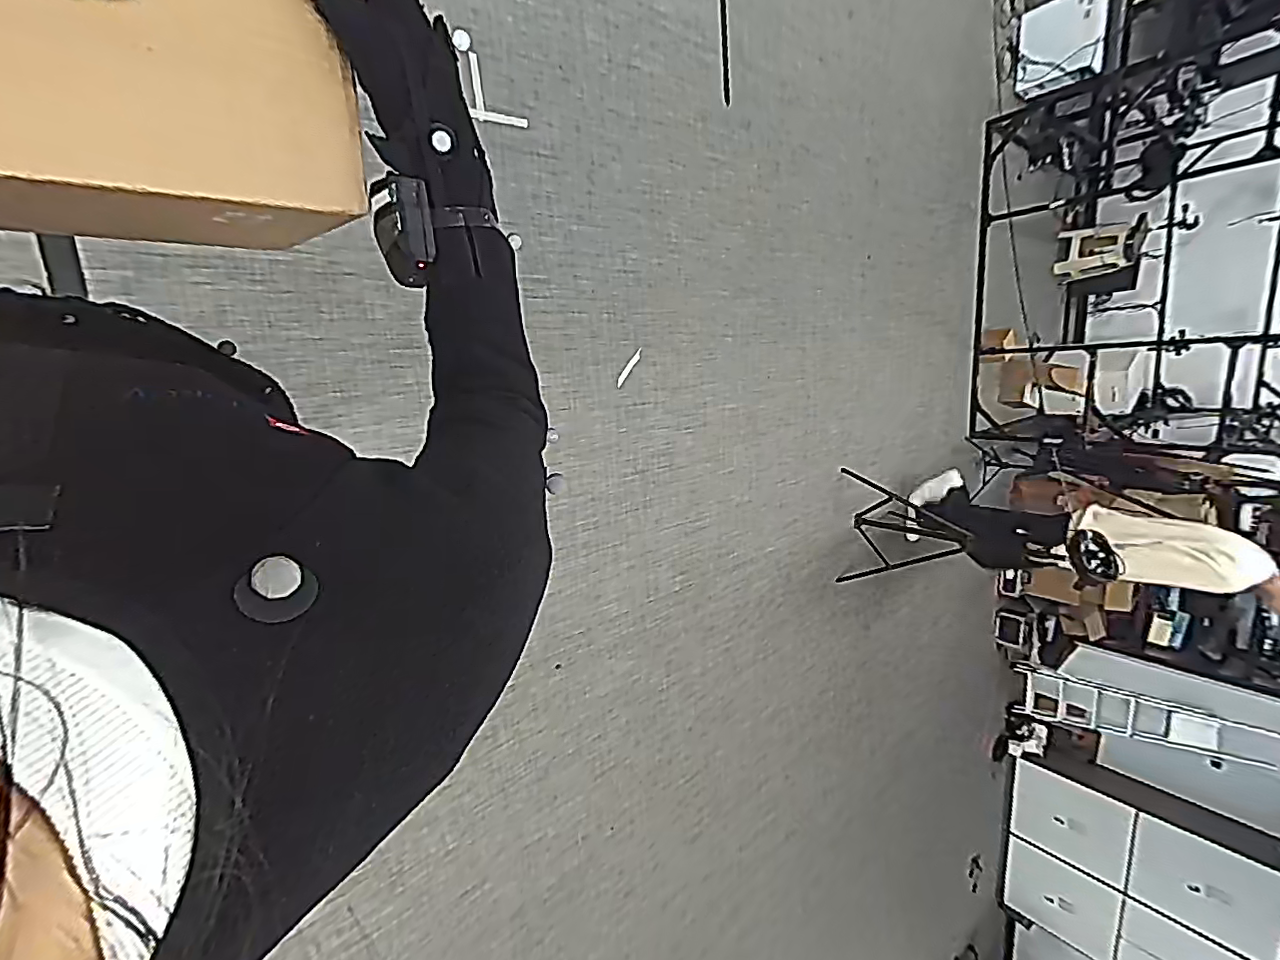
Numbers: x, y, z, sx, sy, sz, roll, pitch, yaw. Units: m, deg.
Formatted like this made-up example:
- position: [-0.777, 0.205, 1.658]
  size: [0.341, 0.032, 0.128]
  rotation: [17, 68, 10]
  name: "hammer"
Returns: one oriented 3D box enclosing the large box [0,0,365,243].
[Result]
- position: [-0.452, -0.337, 0.337]
  size: [0.408, 0.320, 0.320]
  rotation: [-15, 114, -40]
  name: "large box"
